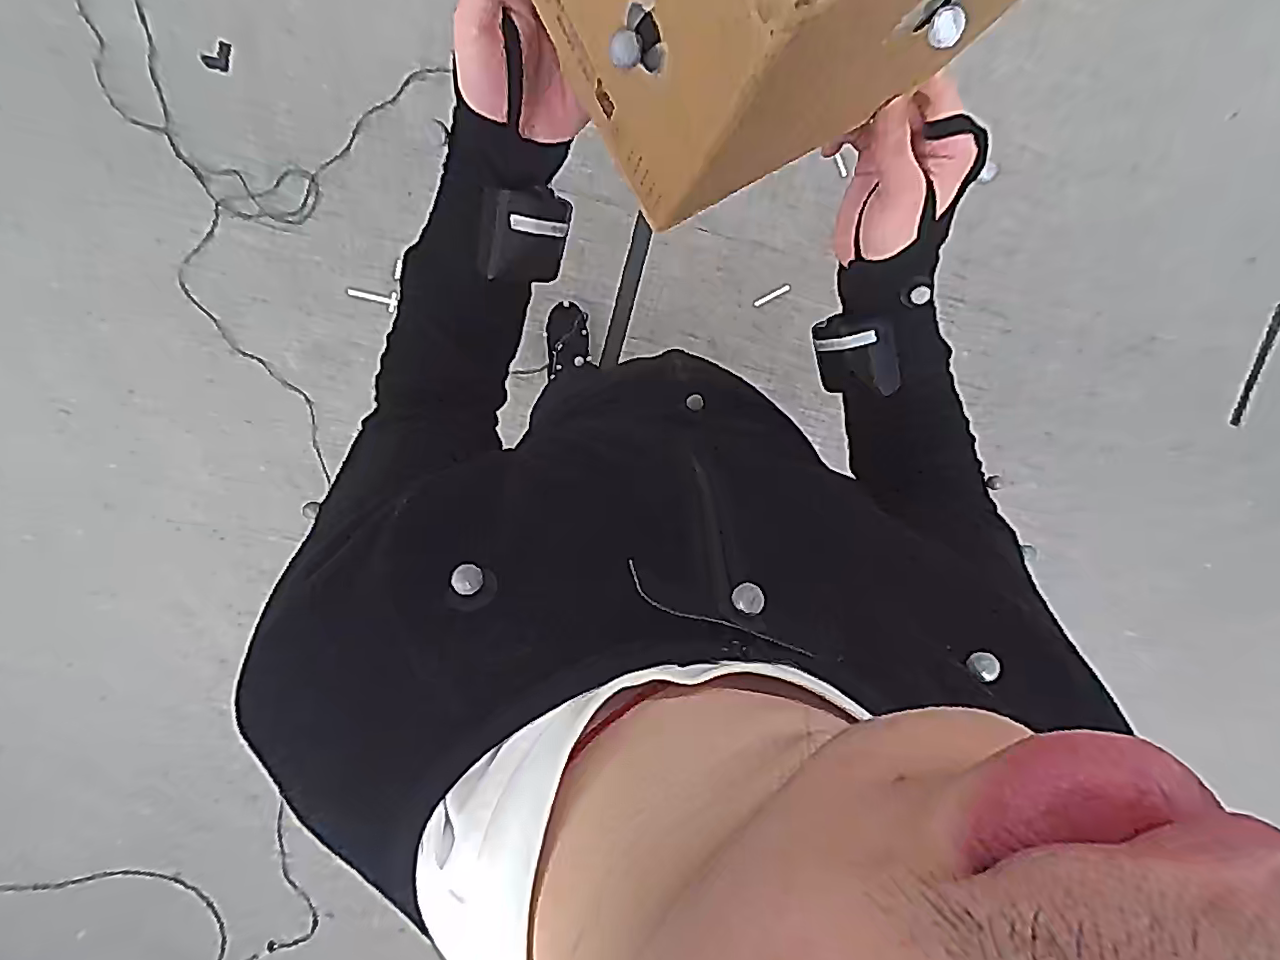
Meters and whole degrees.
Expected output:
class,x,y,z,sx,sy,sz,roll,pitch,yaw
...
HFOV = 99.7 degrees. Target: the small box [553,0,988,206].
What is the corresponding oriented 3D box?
class,x,y,z,sx,sy,sz,roll,pitch,yaw
small box,0.058,-0.249,0.223,0.179,0.176,0.168,-31,101,-8
